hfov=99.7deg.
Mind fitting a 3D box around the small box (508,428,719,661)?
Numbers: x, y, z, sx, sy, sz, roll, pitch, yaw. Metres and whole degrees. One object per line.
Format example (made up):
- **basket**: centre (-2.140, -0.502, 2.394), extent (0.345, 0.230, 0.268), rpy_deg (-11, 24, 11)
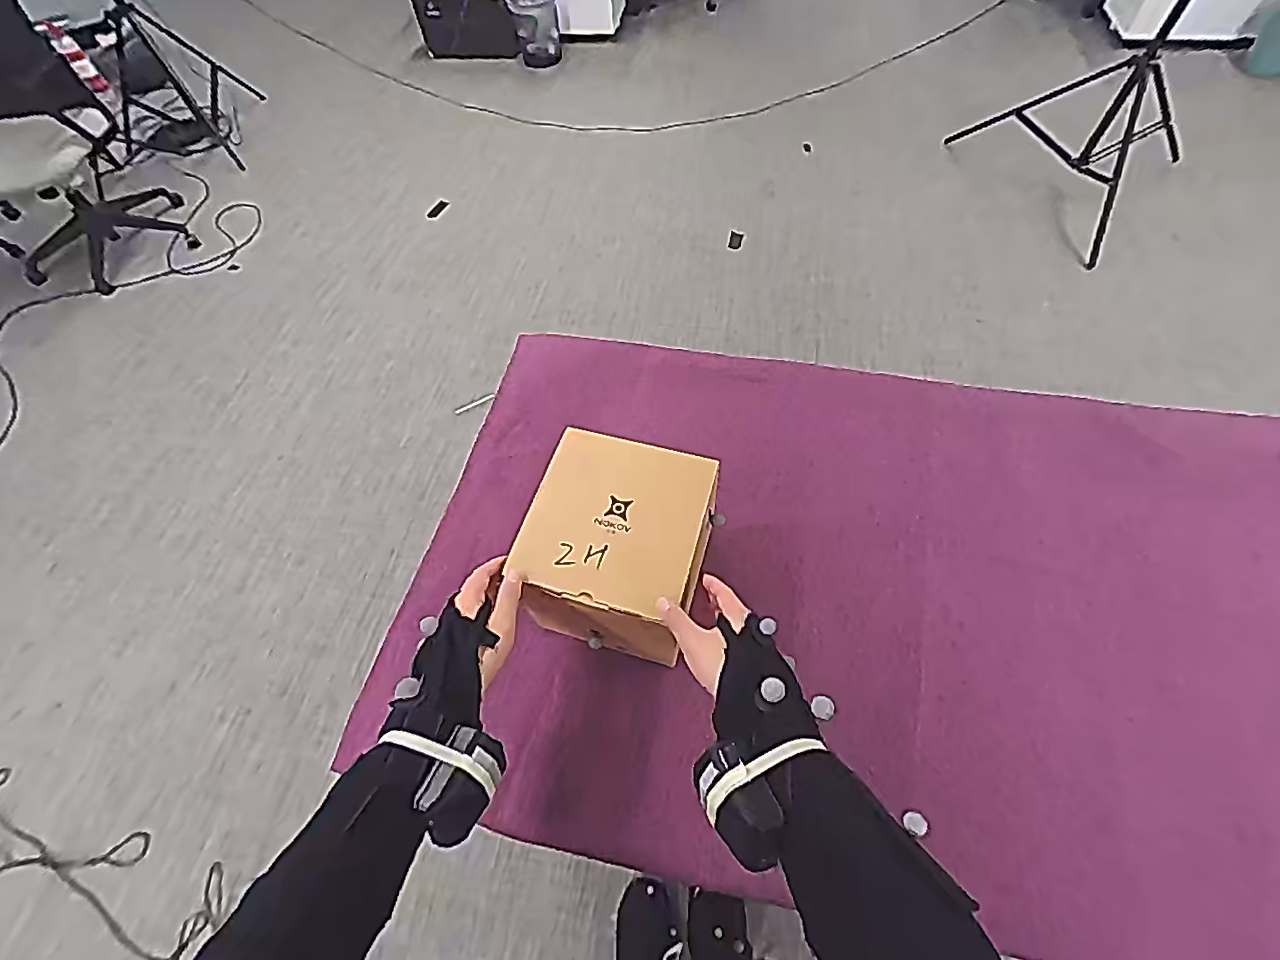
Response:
- **small box**: centre (-0.019, 0.075, 0.591), extent (0.168, 0.176, 0.179), rpy_deg (13, 61, 11)
